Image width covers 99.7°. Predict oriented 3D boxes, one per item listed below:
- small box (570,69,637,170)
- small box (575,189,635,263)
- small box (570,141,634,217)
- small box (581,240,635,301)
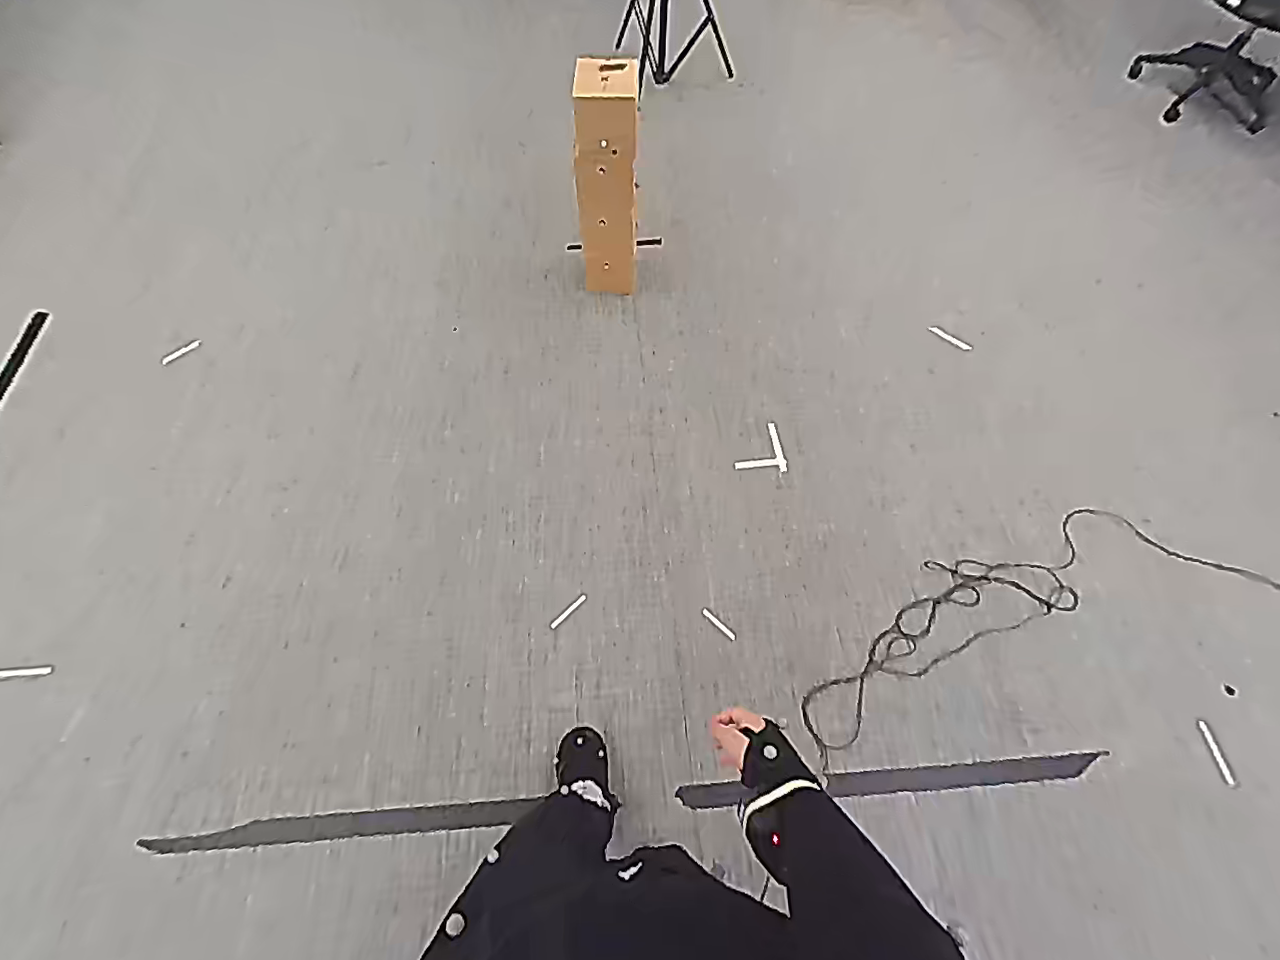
[{"bbox_3d":[-0.095,-0.996,1.497,0.168,0.176,0.179,2,64,1],"label":"small box"},{"bbox_3d":[-0.110,-0.843,1.785,0.179,0.176,0.168,5,64,2],"label":"small box"},{"bbox_3d":[-0.109,-0.924,1.645,0.179,0.176,0.168,2,64,0],"label":"small box"},{"bbox_3d":[-0.110,-0.760,1.927,0.179,0.176,0.168,2,63,0],"label":"small box"}]
